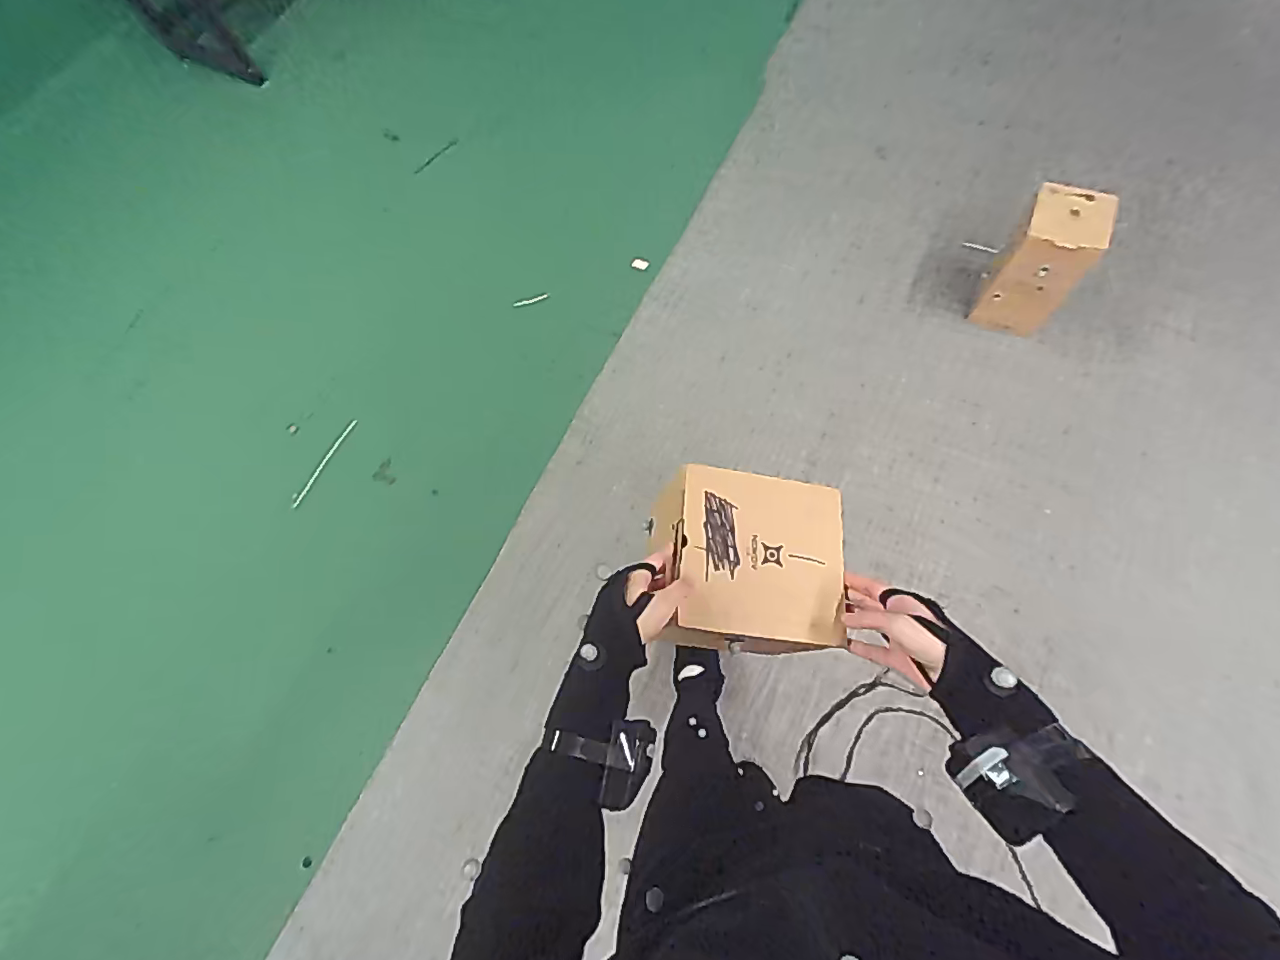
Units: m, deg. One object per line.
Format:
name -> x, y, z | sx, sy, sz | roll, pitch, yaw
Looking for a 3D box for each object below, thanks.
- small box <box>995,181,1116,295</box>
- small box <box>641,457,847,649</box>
small box -> 1.009, -0.589, 1.329 | 0.168, 0.176, 0.179 | 21, 75, 14
small box -> 0.106, 0.093, 0.606 | 0.179, 0.176, 0.168 | 11, 68, -10
